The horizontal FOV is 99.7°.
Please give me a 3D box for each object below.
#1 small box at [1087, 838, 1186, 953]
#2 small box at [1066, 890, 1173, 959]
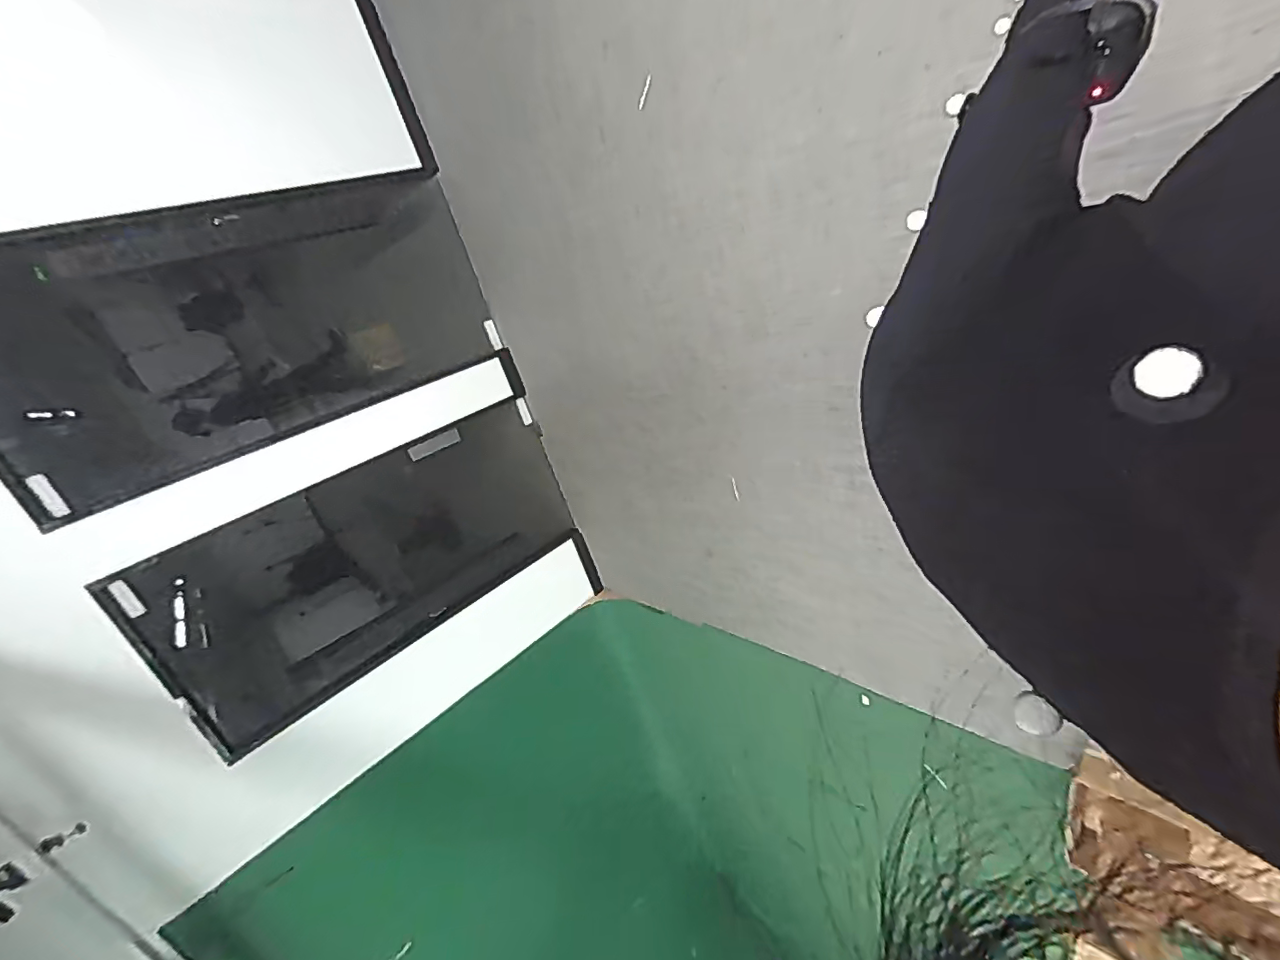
[{"bbox_3d":[1.255,1.074,1.376,0.168,0.176,0.179,13,124,47],"label":"small box"},{"bbox_3d":[1.136,1.143,1.285,0.168,0.176,0.179,9,123,49],"label":"small box"}]
